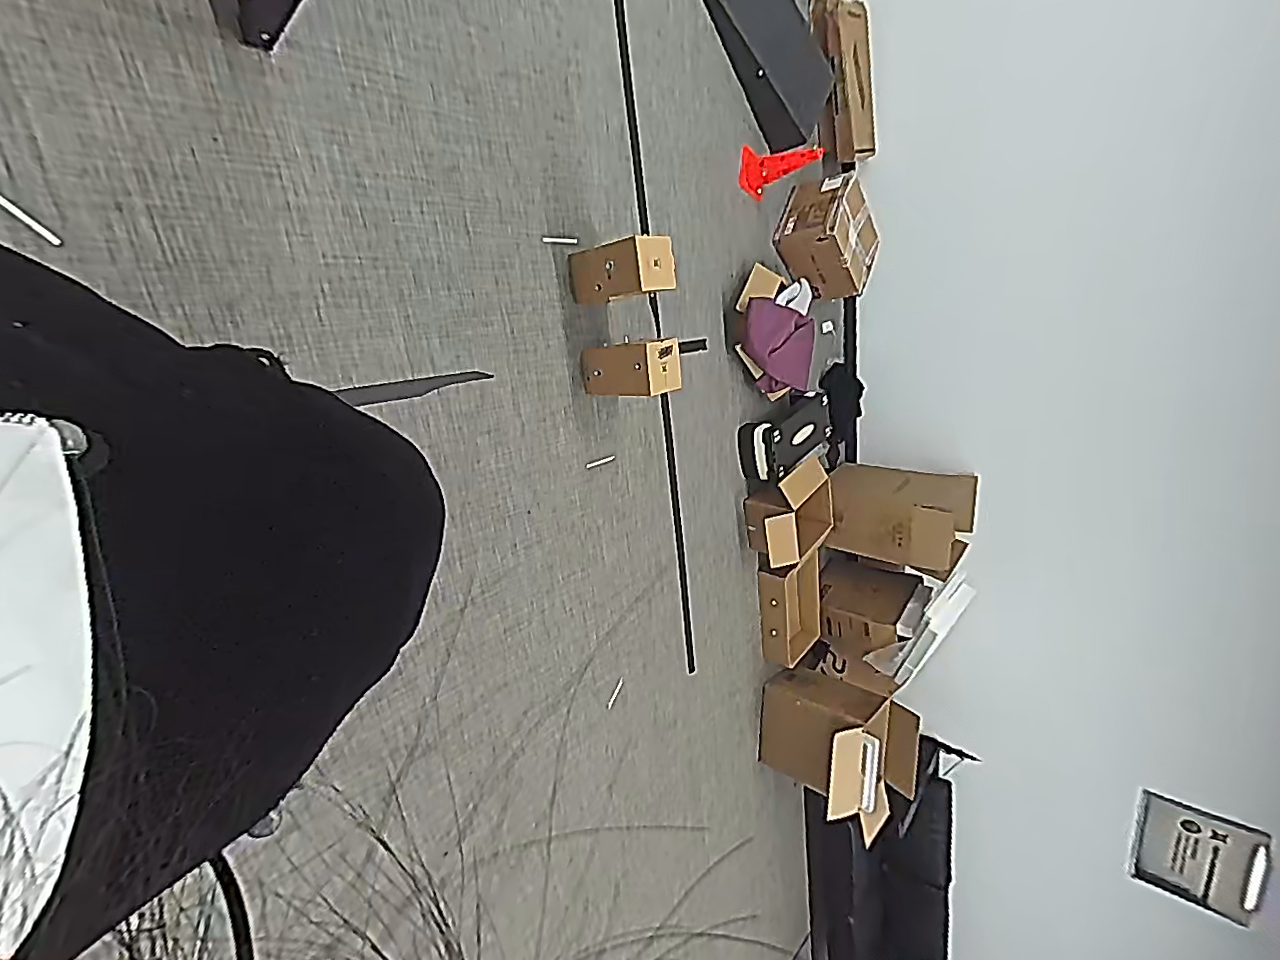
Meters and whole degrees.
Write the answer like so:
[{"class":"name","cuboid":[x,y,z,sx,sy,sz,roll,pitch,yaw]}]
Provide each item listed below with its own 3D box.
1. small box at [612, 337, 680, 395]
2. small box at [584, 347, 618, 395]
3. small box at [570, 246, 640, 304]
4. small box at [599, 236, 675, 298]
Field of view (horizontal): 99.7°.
[{"class":"small box","cuboid":[0.017,-0.392,1.870,0.168,0.176,0.179,-23,114,-43]},{"class":"small box","cuboid":[-0.092,-0.407,1.996,0.179,0.176,0.168,-20,111,-43]},{"class":"small box","cuboid":[-0.125,-0.720,1.904,0.168,0.176,0.179,-25,114,-43]},{"class":"small box","cuboid":[-0.009,-0.703,1.791,0.179,0.176,0.168,-24,111,-42]}]
